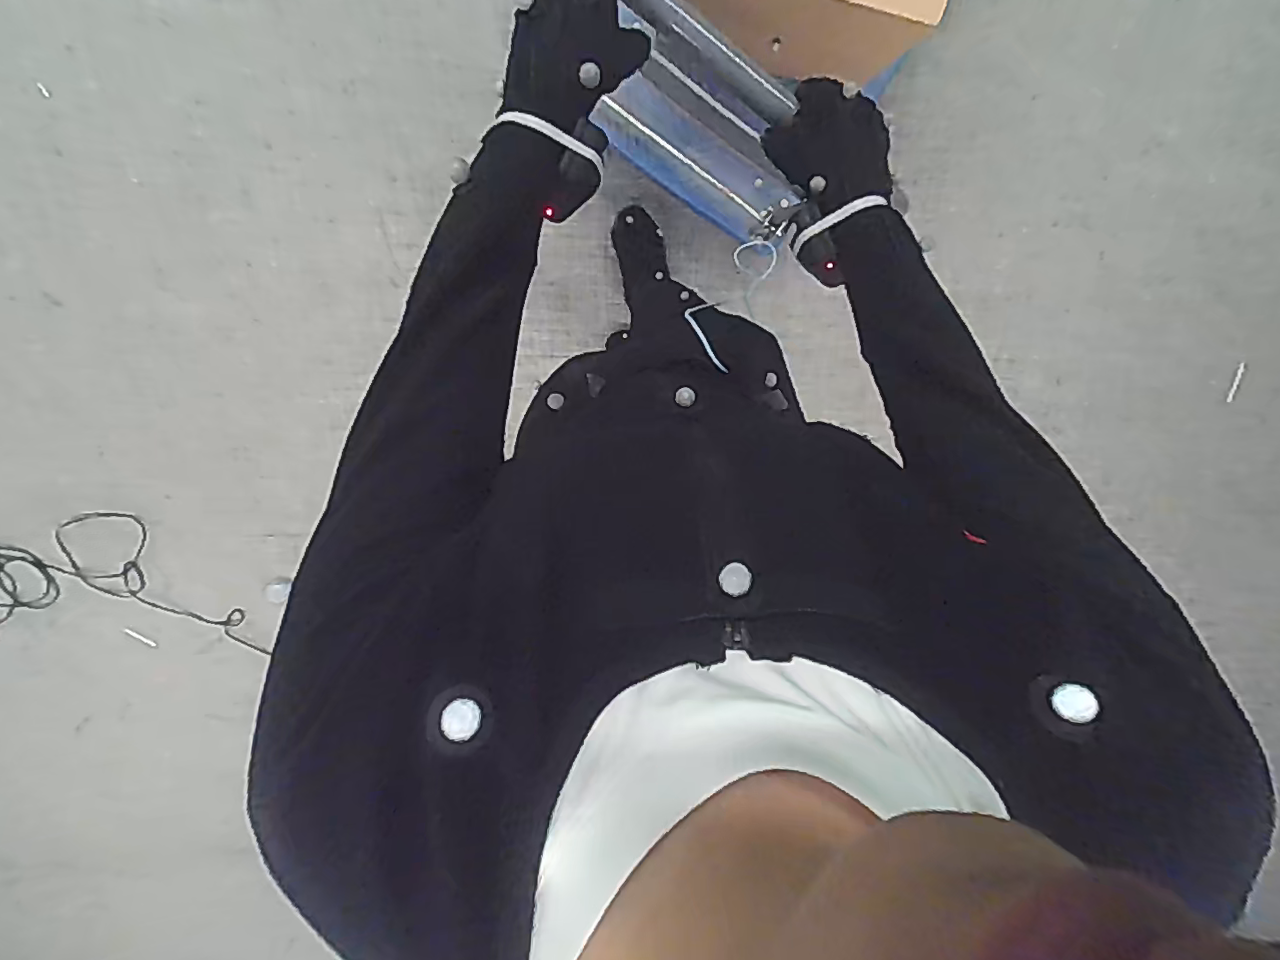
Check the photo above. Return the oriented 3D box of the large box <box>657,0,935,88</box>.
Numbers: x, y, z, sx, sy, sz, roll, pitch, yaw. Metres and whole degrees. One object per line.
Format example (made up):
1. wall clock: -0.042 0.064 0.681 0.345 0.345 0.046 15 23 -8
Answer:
1. large box: 0.257 -0.894 0.868 0.408 0.320 0.320 11 109 -5
